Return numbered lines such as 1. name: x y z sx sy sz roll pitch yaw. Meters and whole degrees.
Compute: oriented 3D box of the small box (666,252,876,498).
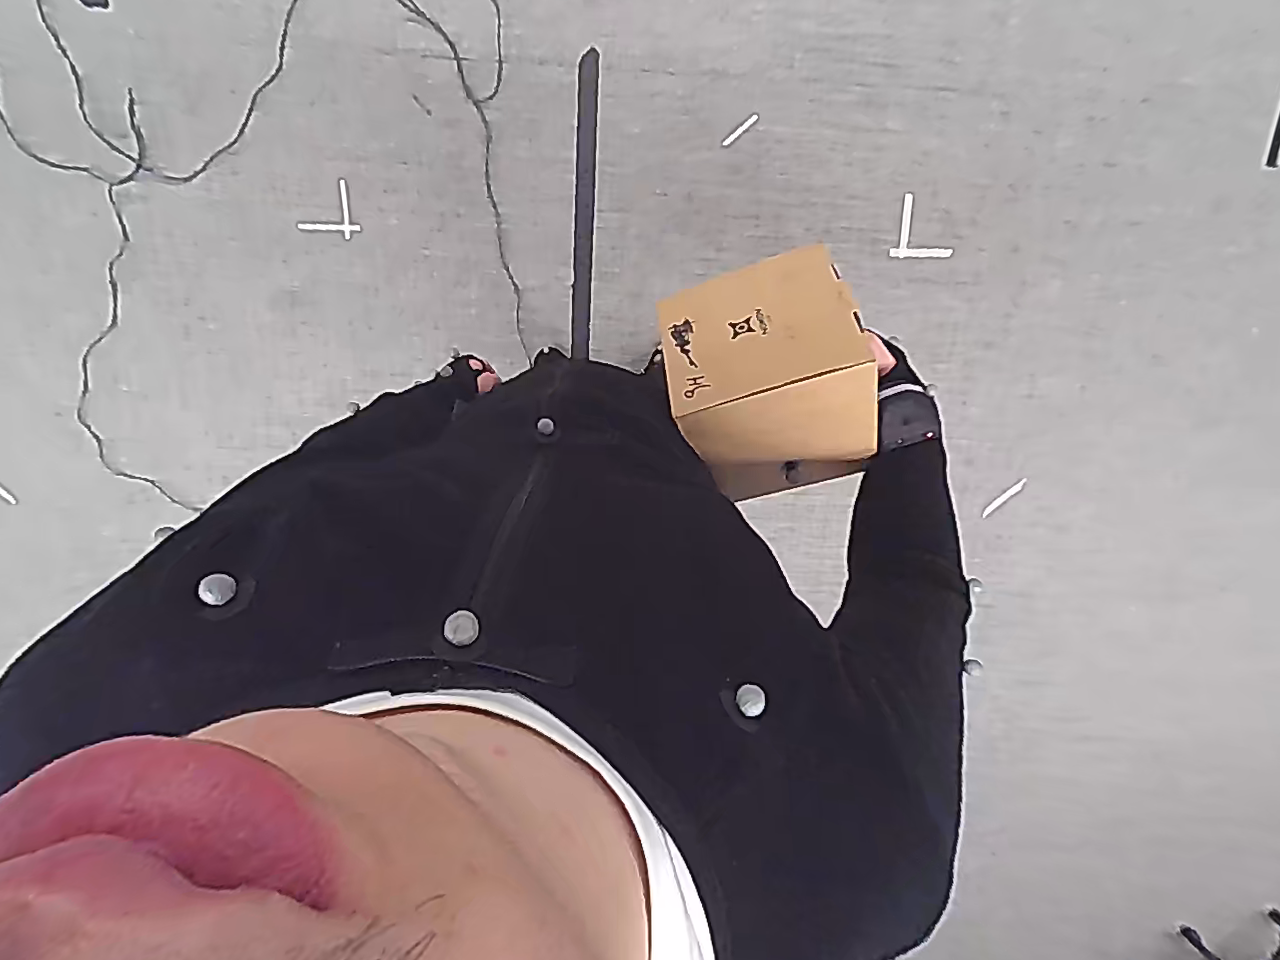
1. small box: 0.140 -0.103 0.585 0.179 0.168 0.176 -15 143 14
